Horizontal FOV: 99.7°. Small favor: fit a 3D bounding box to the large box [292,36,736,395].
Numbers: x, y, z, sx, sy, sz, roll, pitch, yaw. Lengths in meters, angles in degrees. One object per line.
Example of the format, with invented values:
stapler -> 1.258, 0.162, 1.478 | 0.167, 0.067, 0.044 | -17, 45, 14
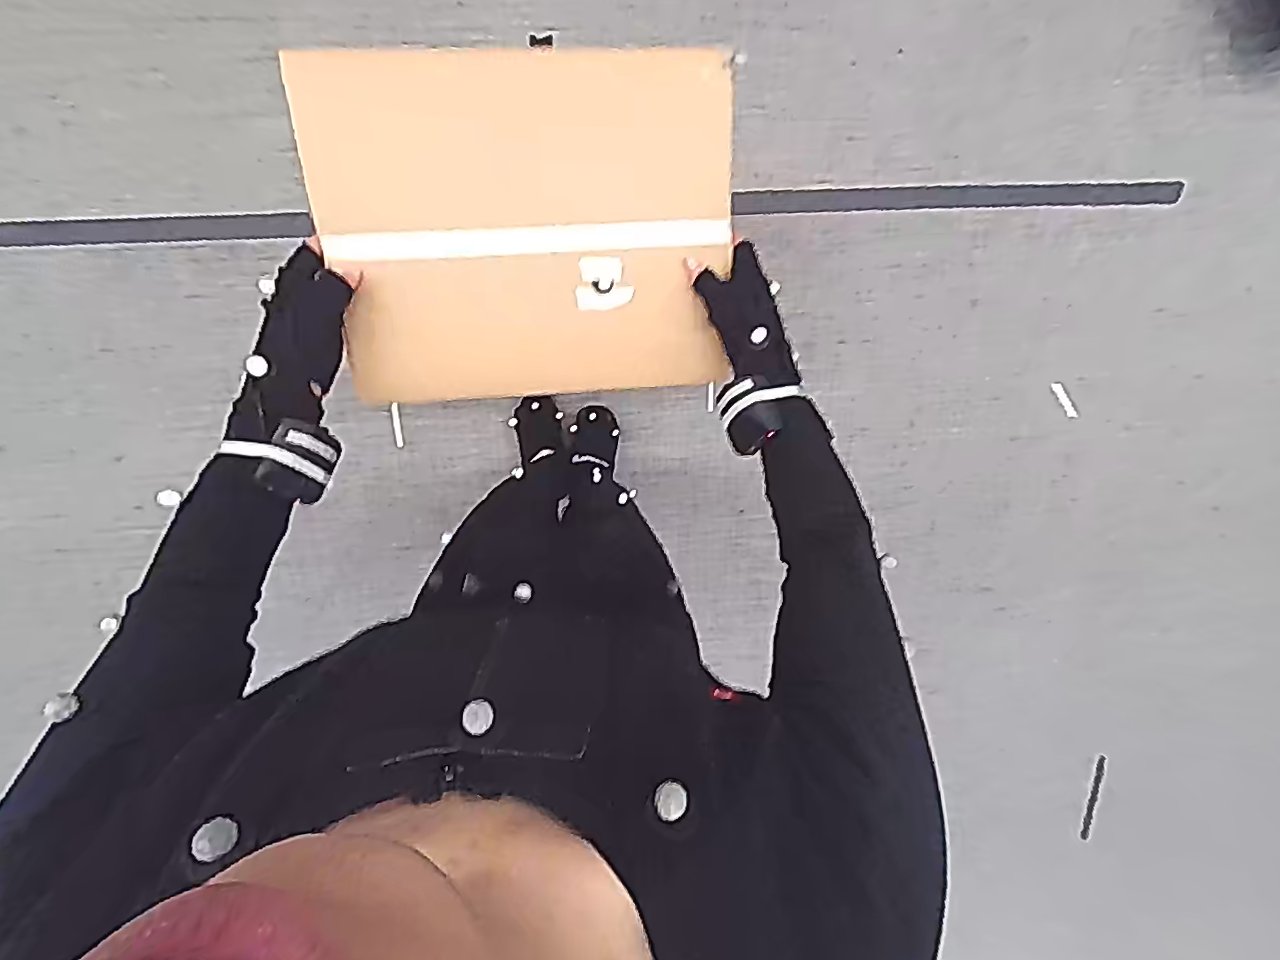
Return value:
large box -> -0.119, -0.304, 0.676 | 0.408, 0.320, 0.320 | -5, 112, -6
